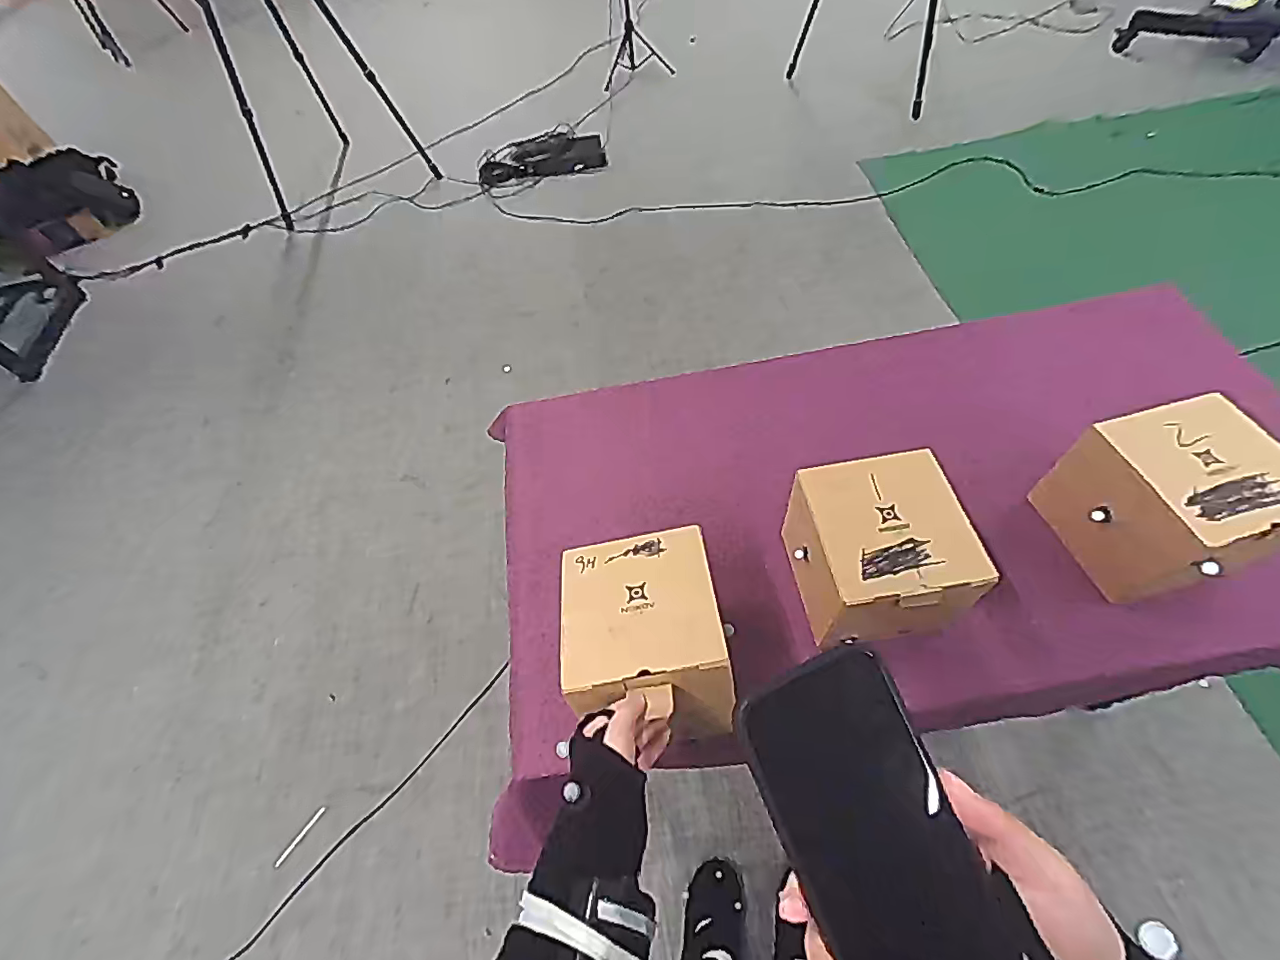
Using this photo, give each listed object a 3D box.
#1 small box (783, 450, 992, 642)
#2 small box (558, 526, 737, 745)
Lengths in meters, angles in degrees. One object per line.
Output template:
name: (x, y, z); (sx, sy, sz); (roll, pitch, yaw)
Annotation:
small box: (0.287, 0.092, 0.676); (0.168, 0.176, 0.179); (-10, 55, 1)
small box: (0.010, 0.185, 0.624); (0.168, 0.176, 0.179); (-12, 43, 4)
